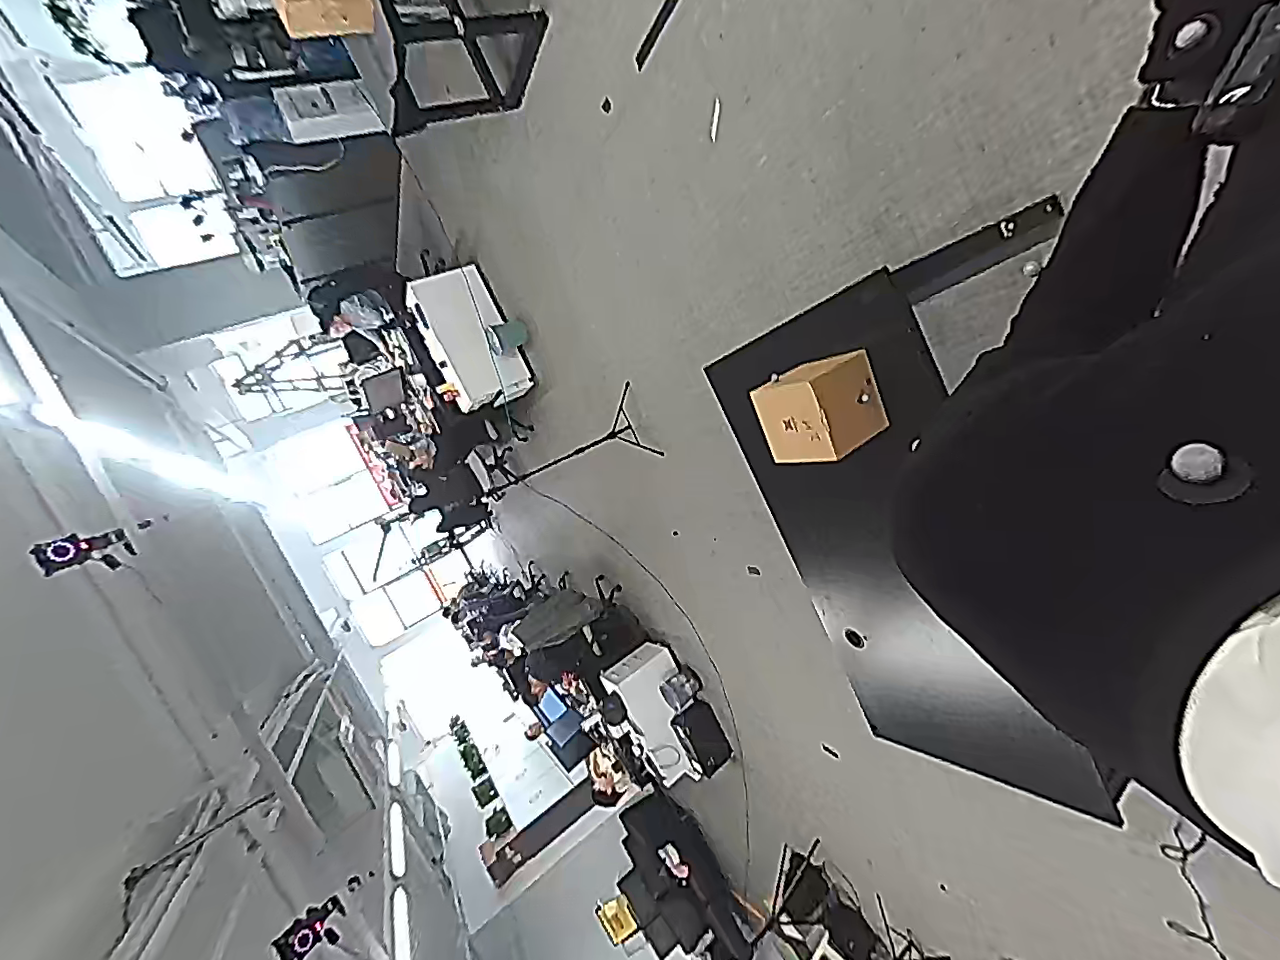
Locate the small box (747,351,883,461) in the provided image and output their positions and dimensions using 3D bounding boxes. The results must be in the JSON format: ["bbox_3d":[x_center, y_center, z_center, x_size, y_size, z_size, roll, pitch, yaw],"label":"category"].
[{"bbox_3d":[0.360,-0.148,1.113,0.179,0.176,0.168,1,118,61],"label":"small box"}]
